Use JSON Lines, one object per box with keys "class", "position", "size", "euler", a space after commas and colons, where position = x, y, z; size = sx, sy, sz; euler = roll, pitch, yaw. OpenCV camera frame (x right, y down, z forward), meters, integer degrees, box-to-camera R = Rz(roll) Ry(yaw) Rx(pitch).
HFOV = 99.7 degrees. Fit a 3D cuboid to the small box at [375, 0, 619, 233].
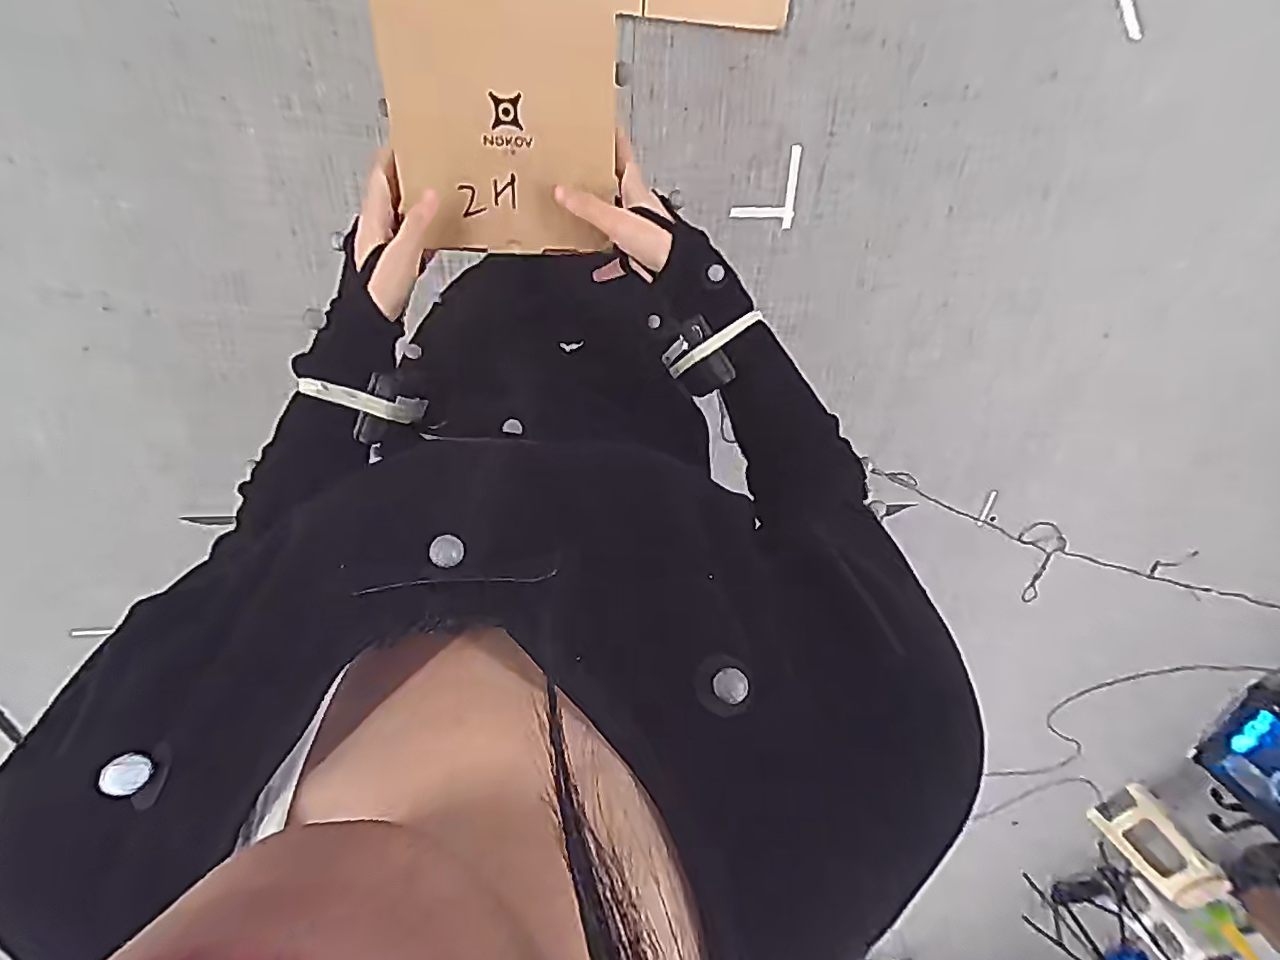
{"class": "small box", "position": [-0.111, -0.312, 0.461], "size": [0.168, 0.176, 0.179], "euler": [-4, 118, -9]}
